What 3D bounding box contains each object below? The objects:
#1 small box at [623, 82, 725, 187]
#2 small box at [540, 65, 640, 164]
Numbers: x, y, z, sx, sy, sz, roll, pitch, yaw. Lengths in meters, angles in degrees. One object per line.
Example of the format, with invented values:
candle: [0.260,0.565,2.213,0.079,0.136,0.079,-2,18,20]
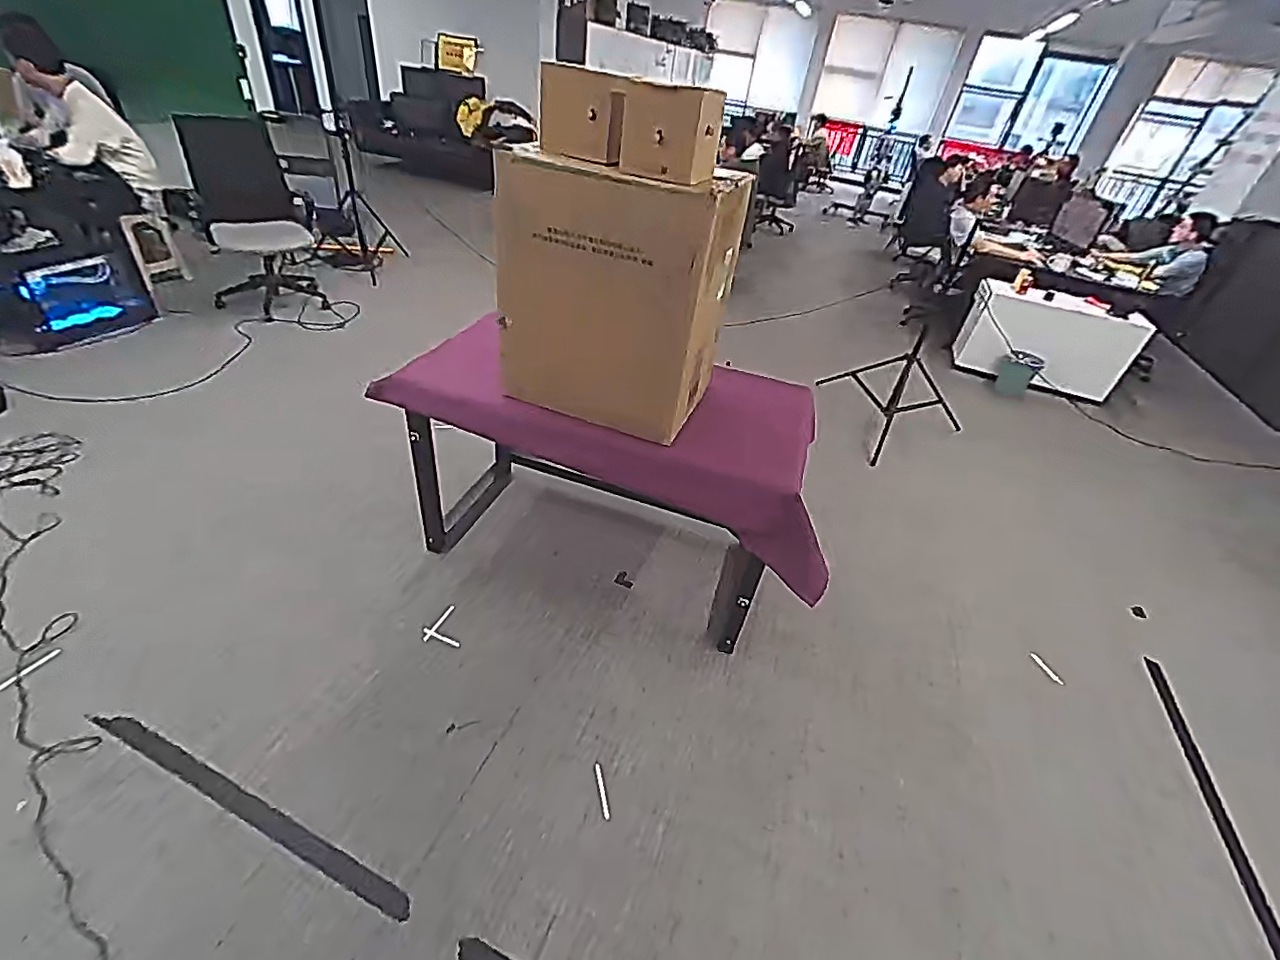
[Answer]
small box: [0.069,-0.742,1.162,0.168,0.176,0.179,19,38,14]
small box: [-0.117,-0.838,1.247,0.179,0.176,0.168,18,37,12]
